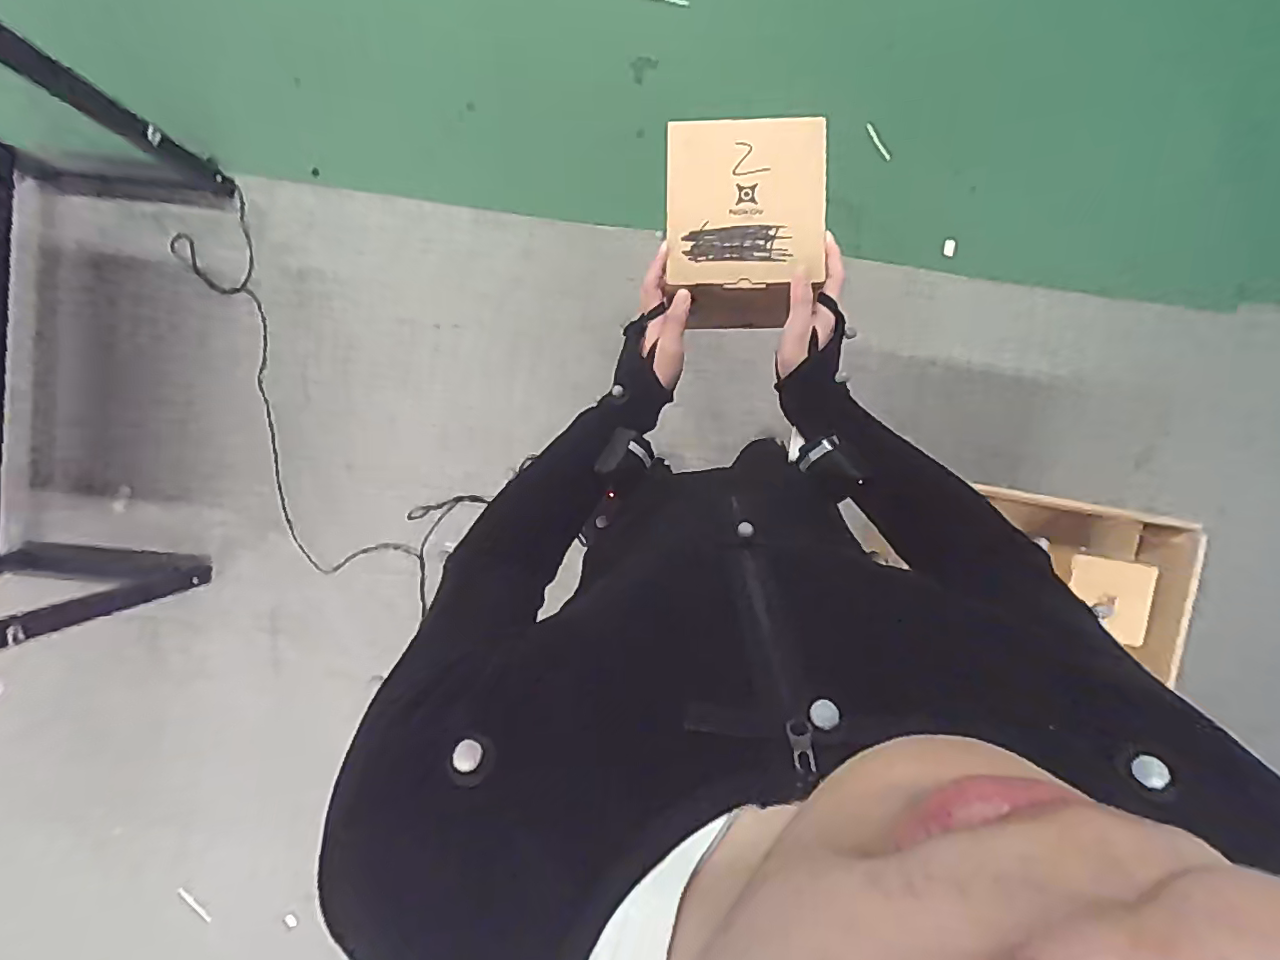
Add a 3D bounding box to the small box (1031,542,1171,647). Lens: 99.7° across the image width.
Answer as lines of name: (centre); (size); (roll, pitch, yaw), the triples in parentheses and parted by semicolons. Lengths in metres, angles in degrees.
small box: (0.945, 0.234, 1.144); (0.179, 0.176, 0.168); (9, 94, 0)
